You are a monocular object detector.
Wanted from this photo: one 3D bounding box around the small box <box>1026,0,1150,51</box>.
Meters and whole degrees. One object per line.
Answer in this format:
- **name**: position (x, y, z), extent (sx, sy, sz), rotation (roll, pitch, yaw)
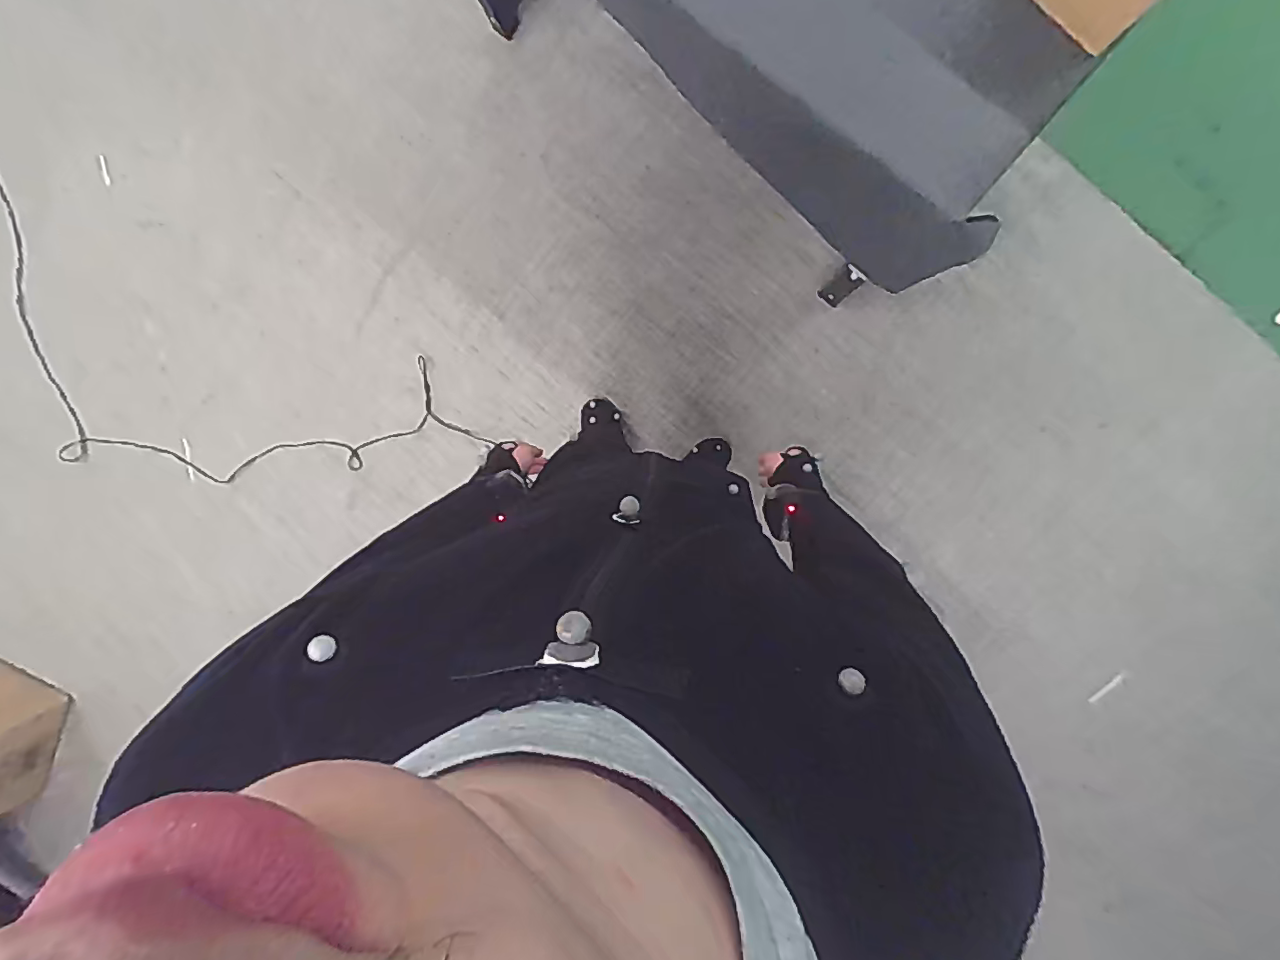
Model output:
- **small box**: position (0.556, -0.648, 0.606), extent (0.179, 0.176, 0.168), rotation (41, 98, -2)
